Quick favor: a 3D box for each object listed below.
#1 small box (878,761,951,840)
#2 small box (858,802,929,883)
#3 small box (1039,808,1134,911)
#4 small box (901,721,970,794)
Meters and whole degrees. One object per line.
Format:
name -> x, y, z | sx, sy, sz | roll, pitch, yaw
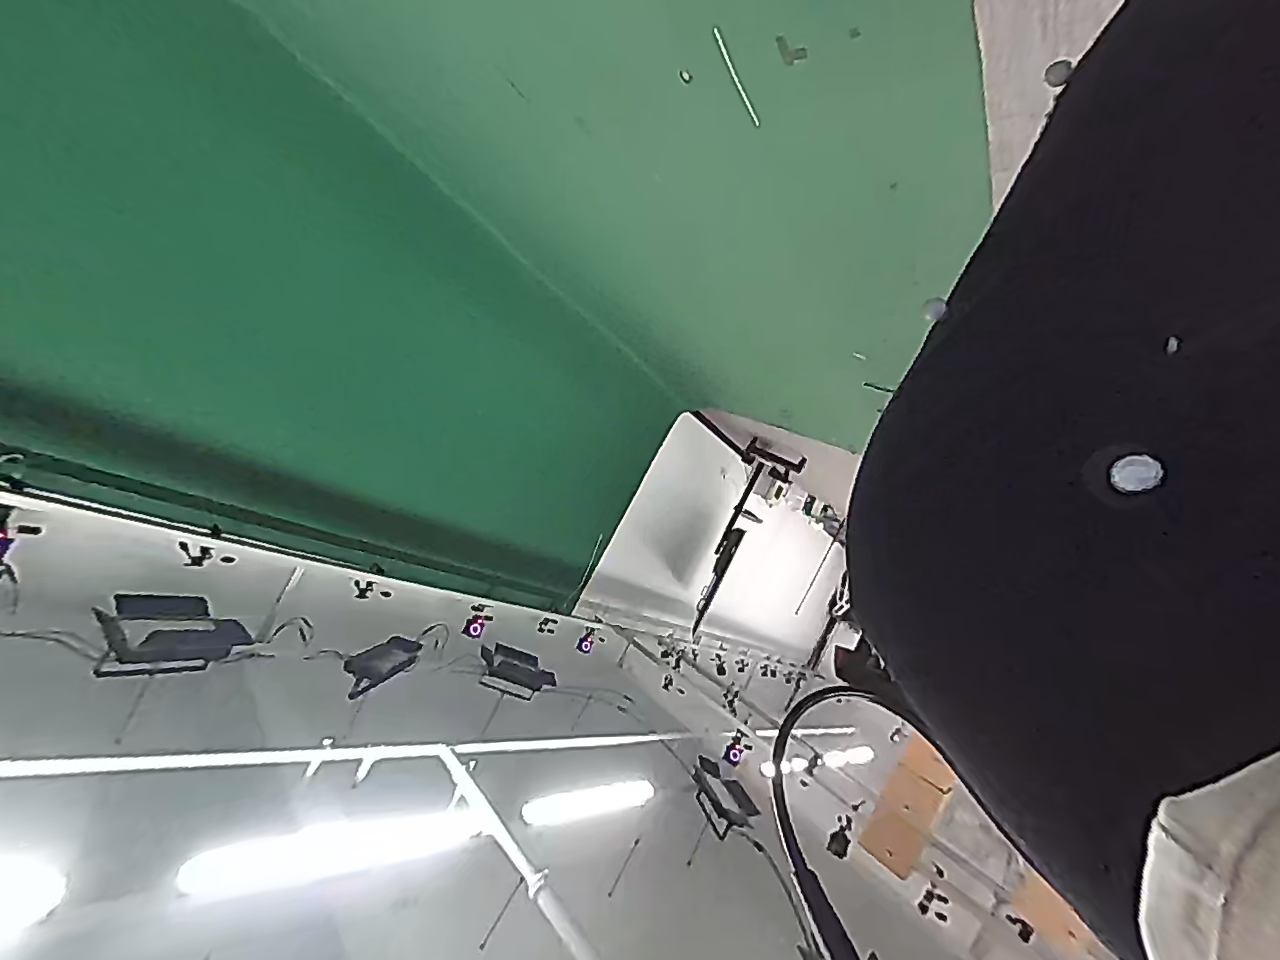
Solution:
small box -> 0.992, 1.137, 1.938 | 0.179, 0.176, 0.168 | 26, 177, 42
small box -> 0.921, 1.285, 1.943 | 0.179, 0.176, 0.168 | 26, 177, 40
small box -> 1.332, 1.121, 1.610 | 0.179, 0.176, 0.168 | 26, 177, 45
small box -> 1.069, 0.994, 1.952 | 0.168, 0.176, 0.179 | 26, 178, 38
